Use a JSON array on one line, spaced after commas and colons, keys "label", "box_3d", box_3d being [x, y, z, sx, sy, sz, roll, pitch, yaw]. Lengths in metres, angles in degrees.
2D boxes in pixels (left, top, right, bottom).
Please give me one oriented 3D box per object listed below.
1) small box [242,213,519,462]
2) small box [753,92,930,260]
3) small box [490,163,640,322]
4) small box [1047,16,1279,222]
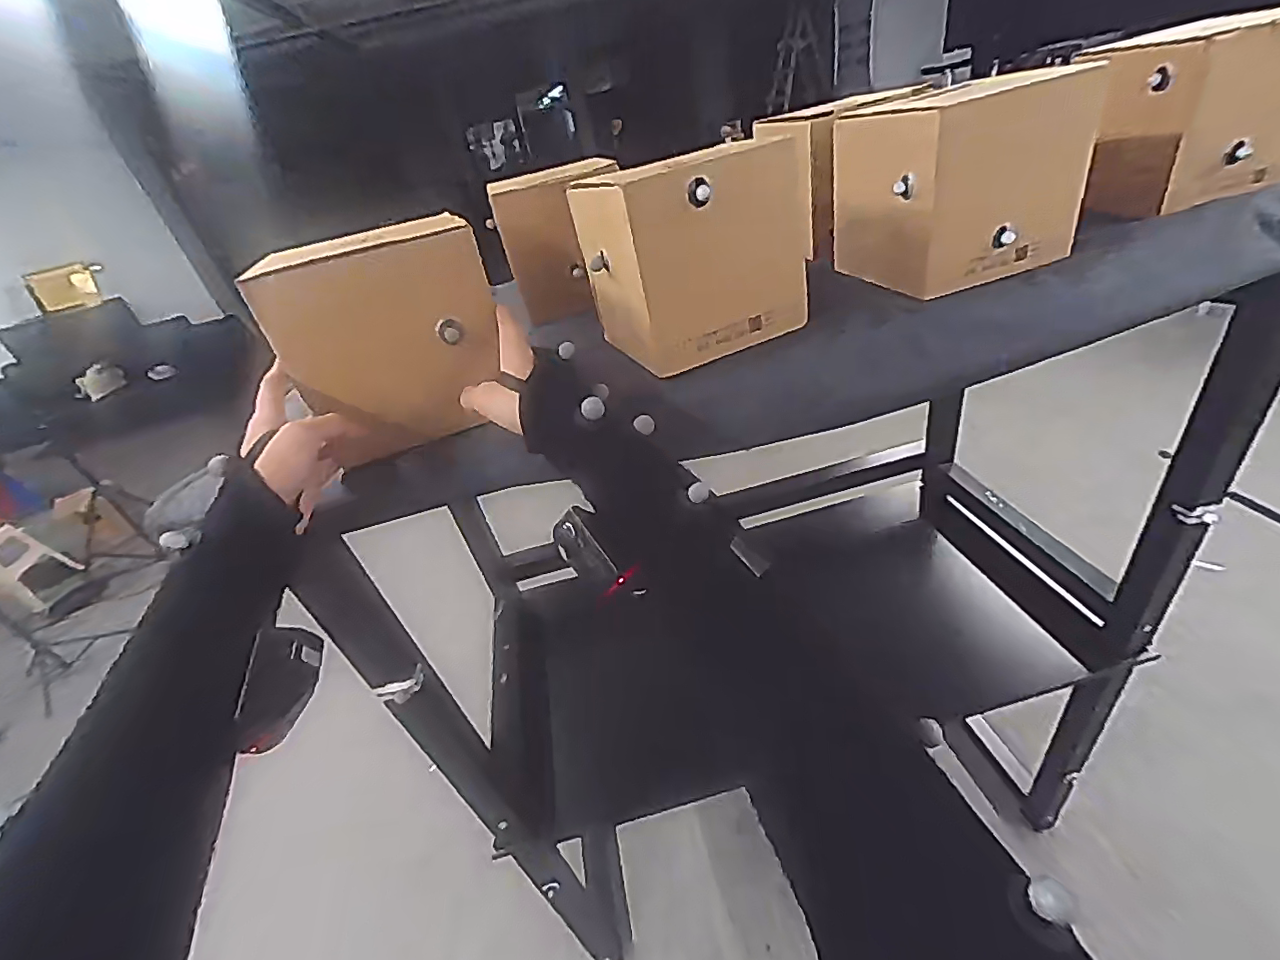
[{"label": "small box", "box_3d": [-0.226, -0.142, 0.516, 0.179, 0.176, 0.168, -20, 34, -14]}, {"label": "small box", "box_3d": [0.276, -0.424, 0.765, 0.168, 0.176, 0.179, -17, 33, -5]}, {"label": "small box", "box_3d": [-0.108, -0.342, 0.776, 0.168, 0.176, 0.179, -17, 34, -5]}, {"label": "small box", "box_3d": [0.622, -0.412, 0.628, 0.168, 0.176, 0.179, -13, 34, 1]}]
